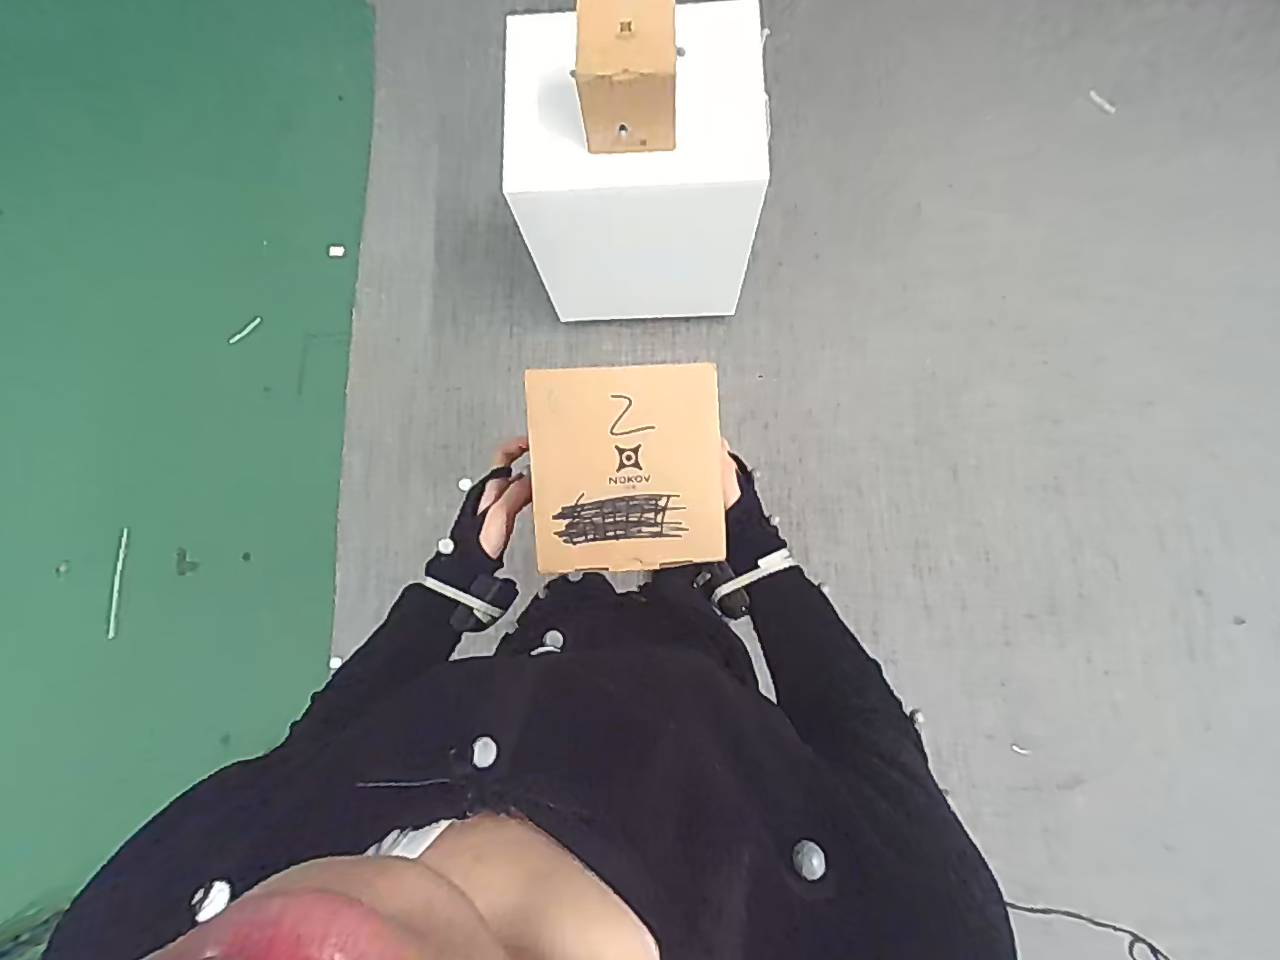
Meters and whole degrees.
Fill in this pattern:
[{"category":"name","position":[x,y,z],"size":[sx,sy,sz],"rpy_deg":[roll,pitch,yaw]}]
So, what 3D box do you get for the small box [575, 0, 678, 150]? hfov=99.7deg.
[{"category":"small box","position":[-0.019,-0.720,0.949],"size":[0.168,0.176,0.179],"rpy_deg":[-1,80,3]}]
